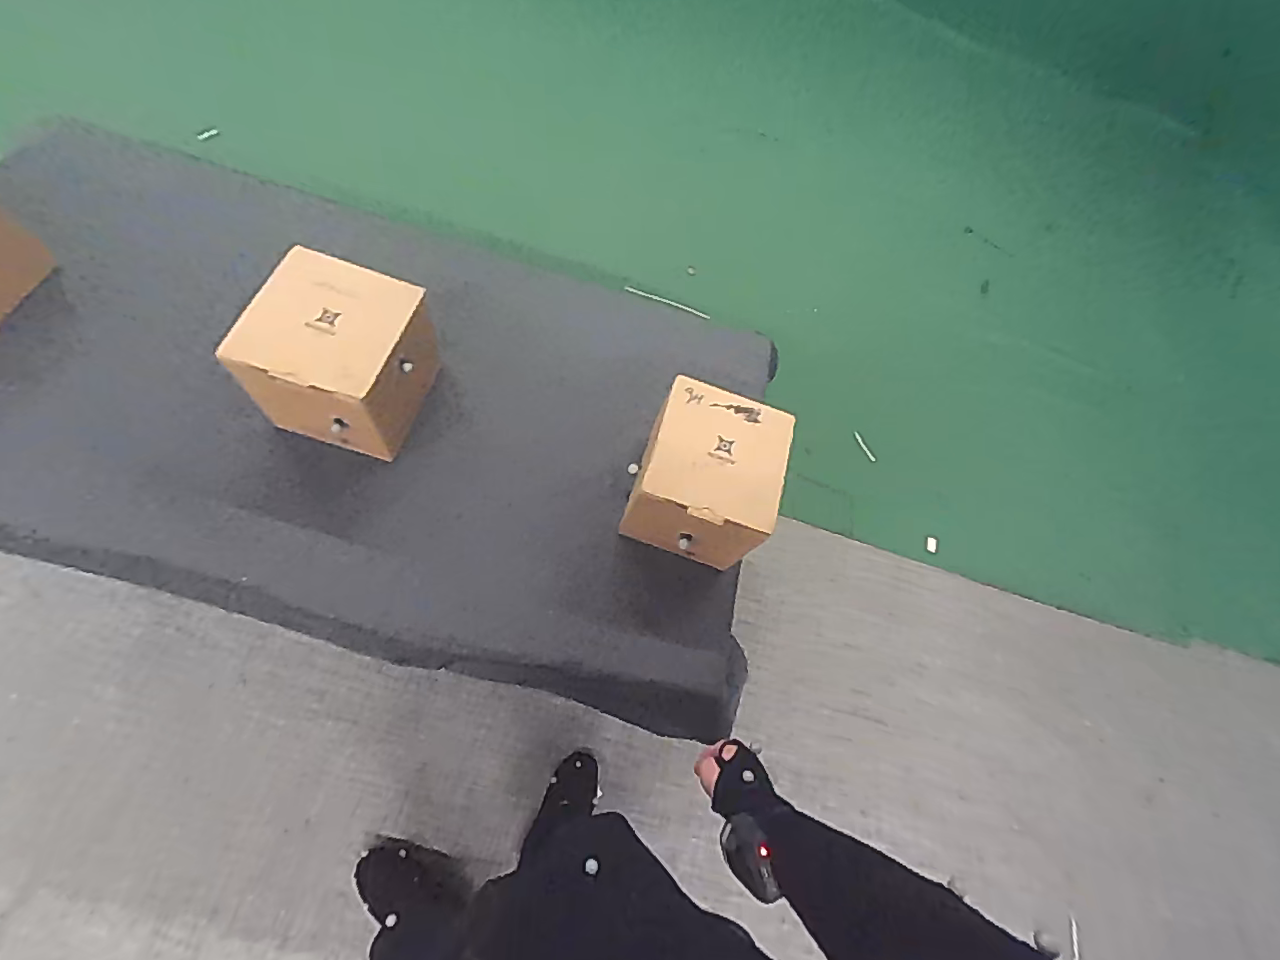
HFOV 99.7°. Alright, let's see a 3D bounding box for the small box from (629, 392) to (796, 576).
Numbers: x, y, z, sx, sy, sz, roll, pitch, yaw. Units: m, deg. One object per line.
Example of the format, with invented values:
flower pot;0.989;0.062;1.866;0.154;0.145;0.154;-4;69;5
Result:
small box;0.090;0.016;0.741;0.168;0.176;0.179;19;65;-3
